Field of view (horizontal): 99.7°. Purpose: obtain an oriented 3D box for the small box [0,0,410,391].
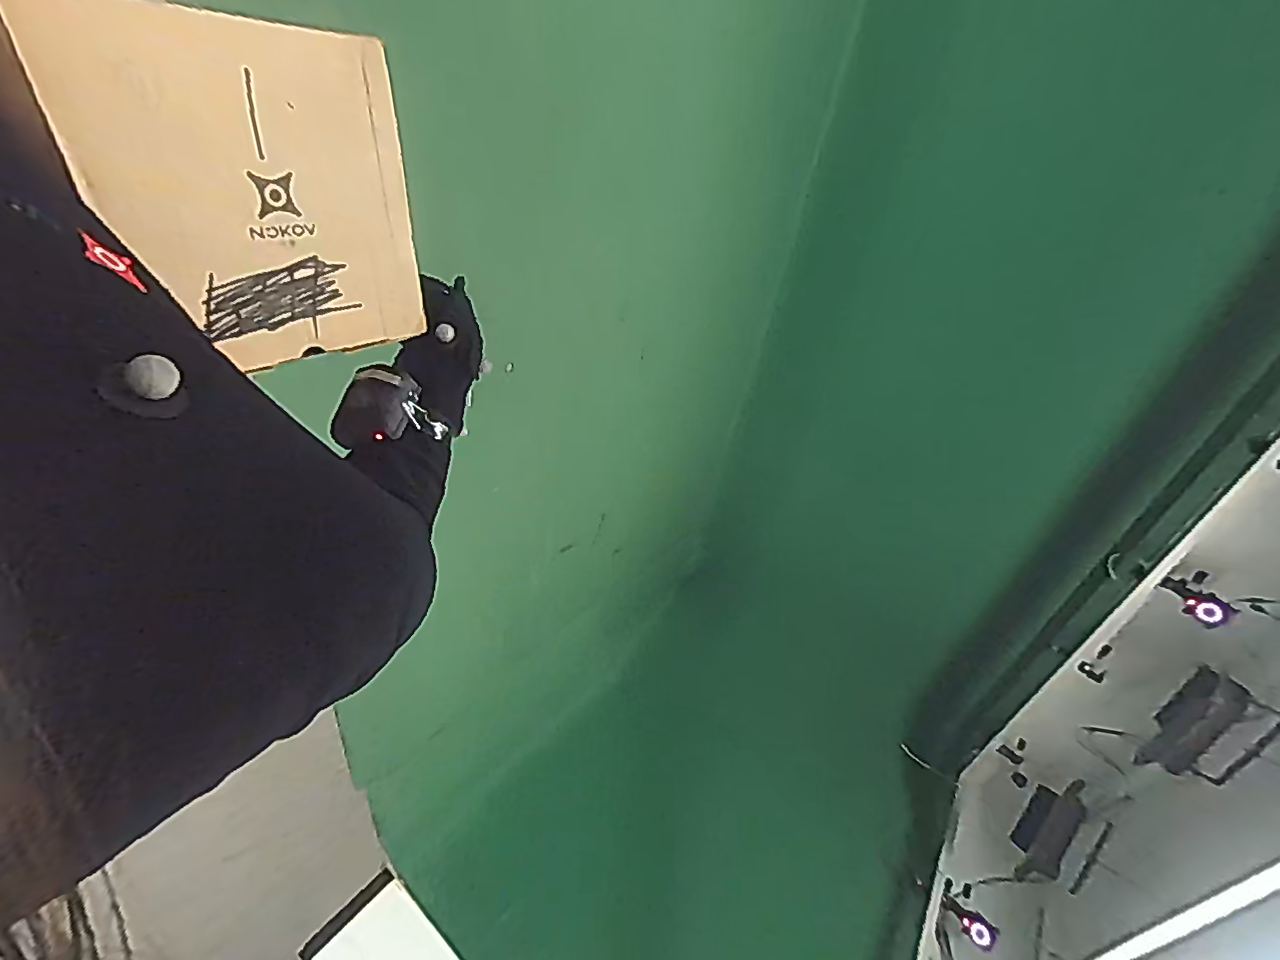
[{"bbox_3d":[-0.280,-0.180,0.349,0.168,0.176,0.179,-34,138,-46],"label":"small box"}]
